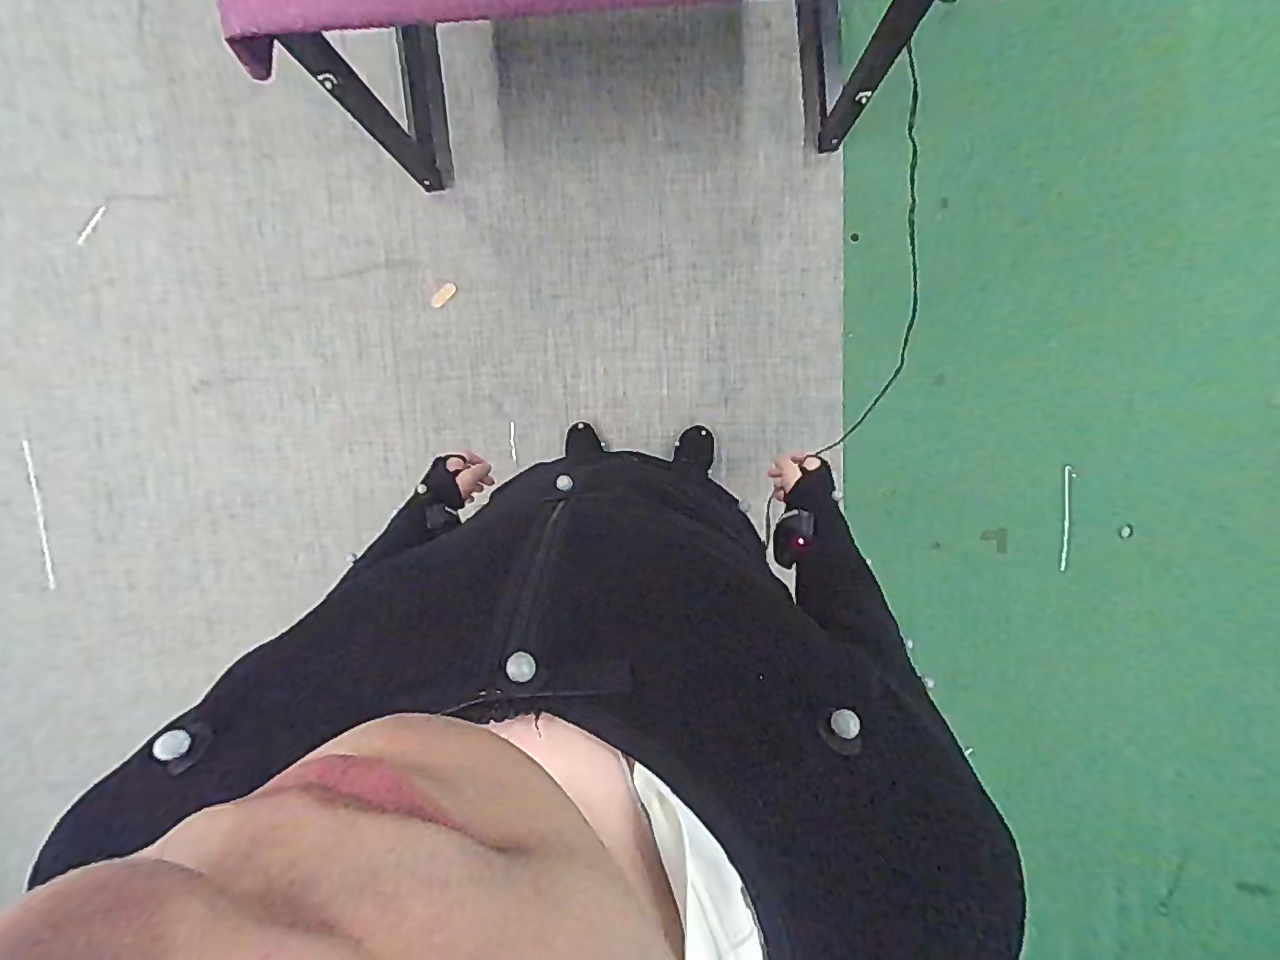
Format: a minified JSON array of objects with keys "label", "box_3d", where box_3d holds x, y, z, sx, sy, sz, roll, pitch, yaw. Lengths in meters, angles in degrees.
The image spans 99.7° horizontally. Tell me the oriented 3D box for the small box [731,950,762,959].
[{"label":"small box","box_3d":[0.233,1.214,1.206,0.179,0.176,0.168,-28,95,4]}]
